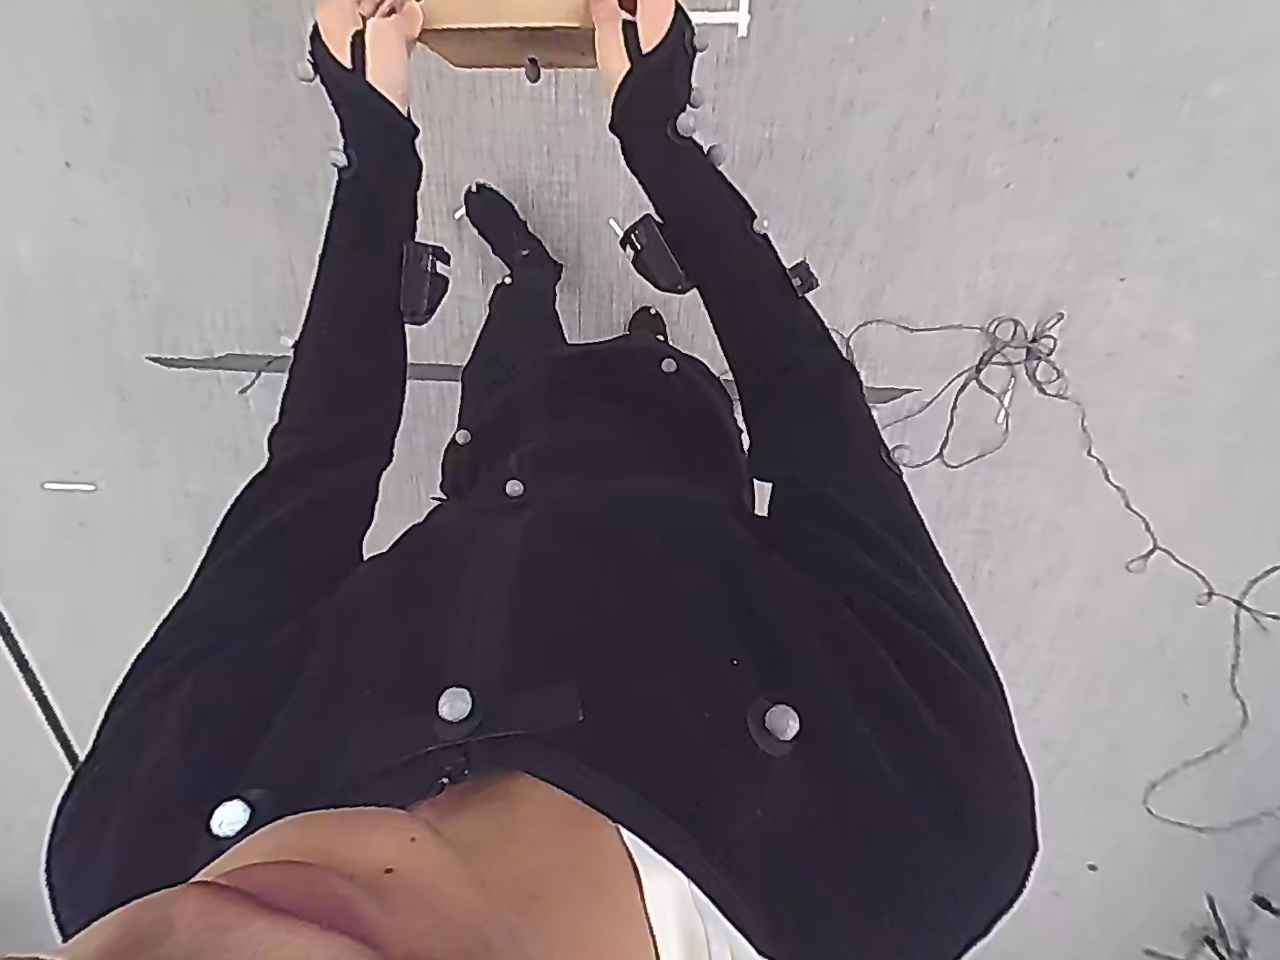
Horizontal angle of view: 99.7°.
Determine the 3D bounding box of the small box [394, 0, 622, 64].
[{"bbox_3d":[-0.104,-0.468,0.453,0.179,0.176,0.168,0,118,-1],"label":"small box"}]
